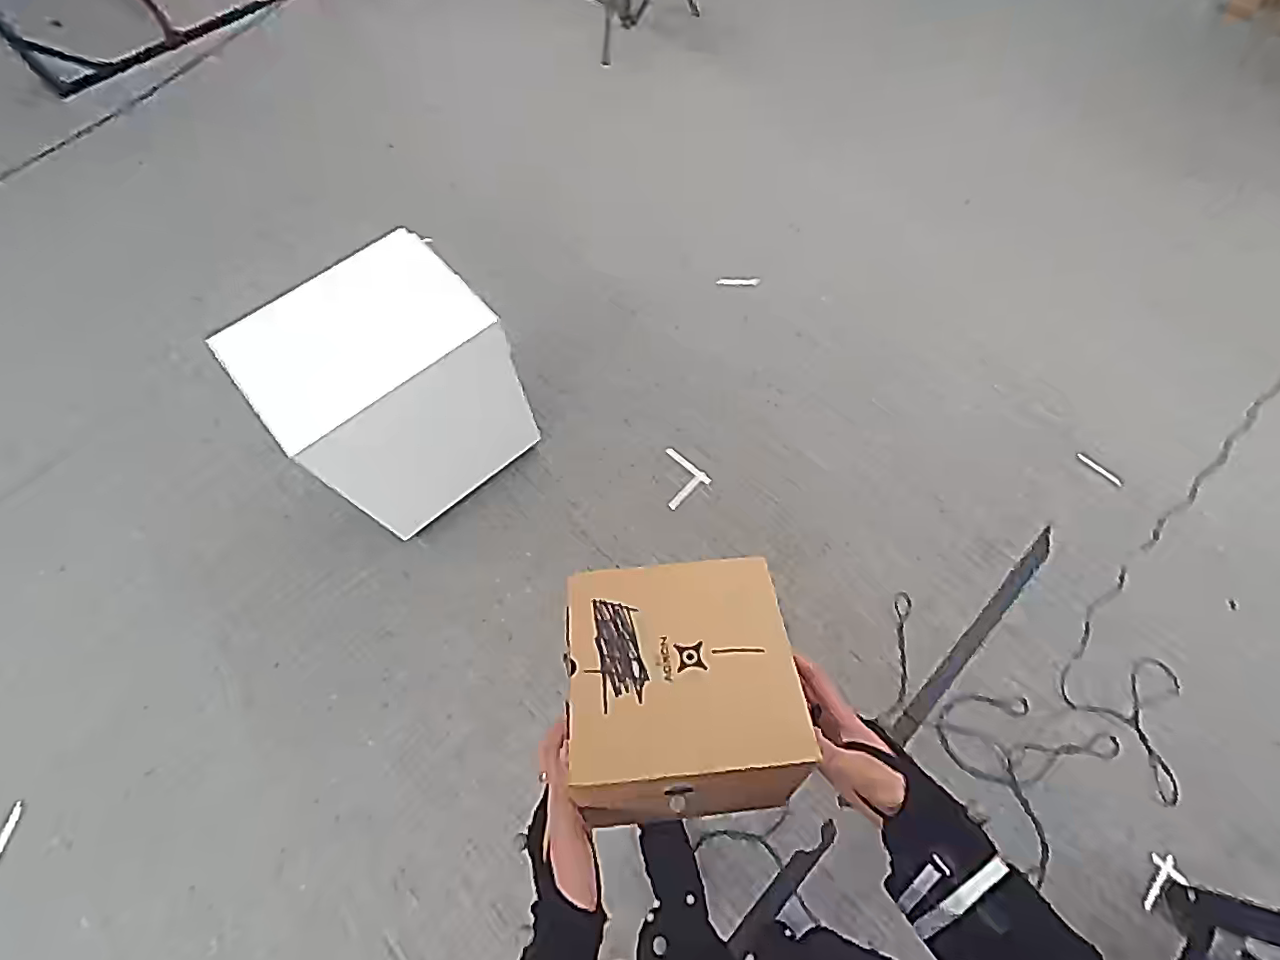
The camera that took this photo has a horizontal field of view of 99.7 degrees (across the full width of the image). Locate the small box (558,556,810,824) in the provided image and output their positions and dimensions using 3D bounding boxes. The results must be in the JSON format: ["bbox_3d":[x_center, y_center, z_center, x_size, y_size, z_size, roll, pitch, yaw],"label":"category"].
[{"bbox_3d":[0.028,0.188,0.477,0.179,0.176,0.168,-6,49,-3],"label":"small box"}]
